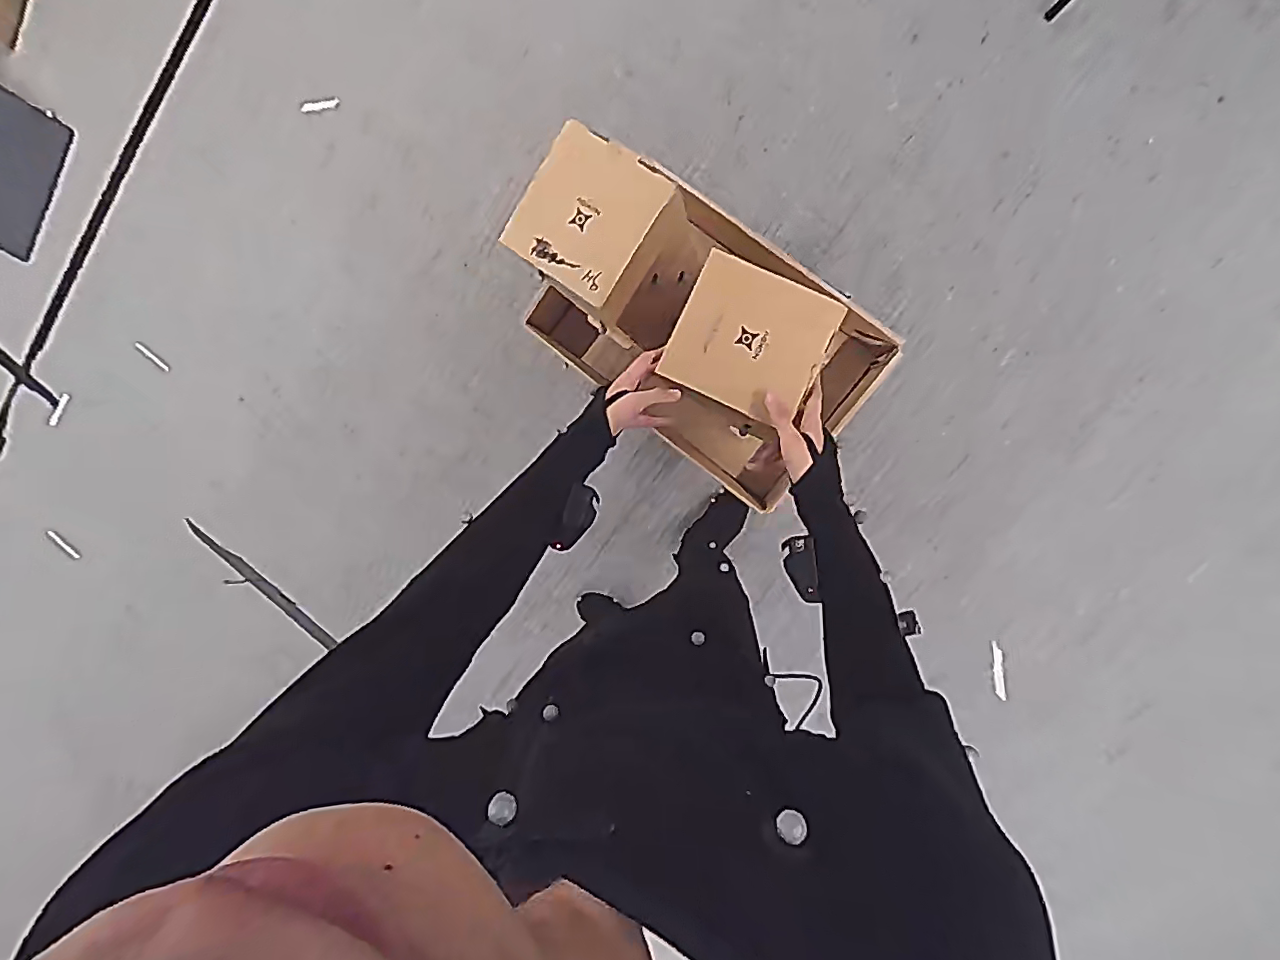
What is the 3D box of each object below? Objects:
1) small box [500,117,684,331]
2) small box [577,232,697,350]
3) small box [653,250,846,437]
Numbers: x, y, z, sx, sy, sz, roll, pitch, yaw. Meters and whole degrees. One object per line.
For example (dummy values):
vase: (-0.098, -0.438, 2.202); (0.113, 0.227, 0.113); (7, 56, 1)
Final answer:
small box: (-0.053, -0.335, 0.744); (0.168, 0.176, 0.179); (37, 99, 7)
small box: (-0.016, -0.342, 0.906); (0.168, 0.176, 0.179); (36, 100, 7)
small box: (0.135, -0.164, 0.712); (0.179, 0.176, 0.168); (26, 93, 5)
